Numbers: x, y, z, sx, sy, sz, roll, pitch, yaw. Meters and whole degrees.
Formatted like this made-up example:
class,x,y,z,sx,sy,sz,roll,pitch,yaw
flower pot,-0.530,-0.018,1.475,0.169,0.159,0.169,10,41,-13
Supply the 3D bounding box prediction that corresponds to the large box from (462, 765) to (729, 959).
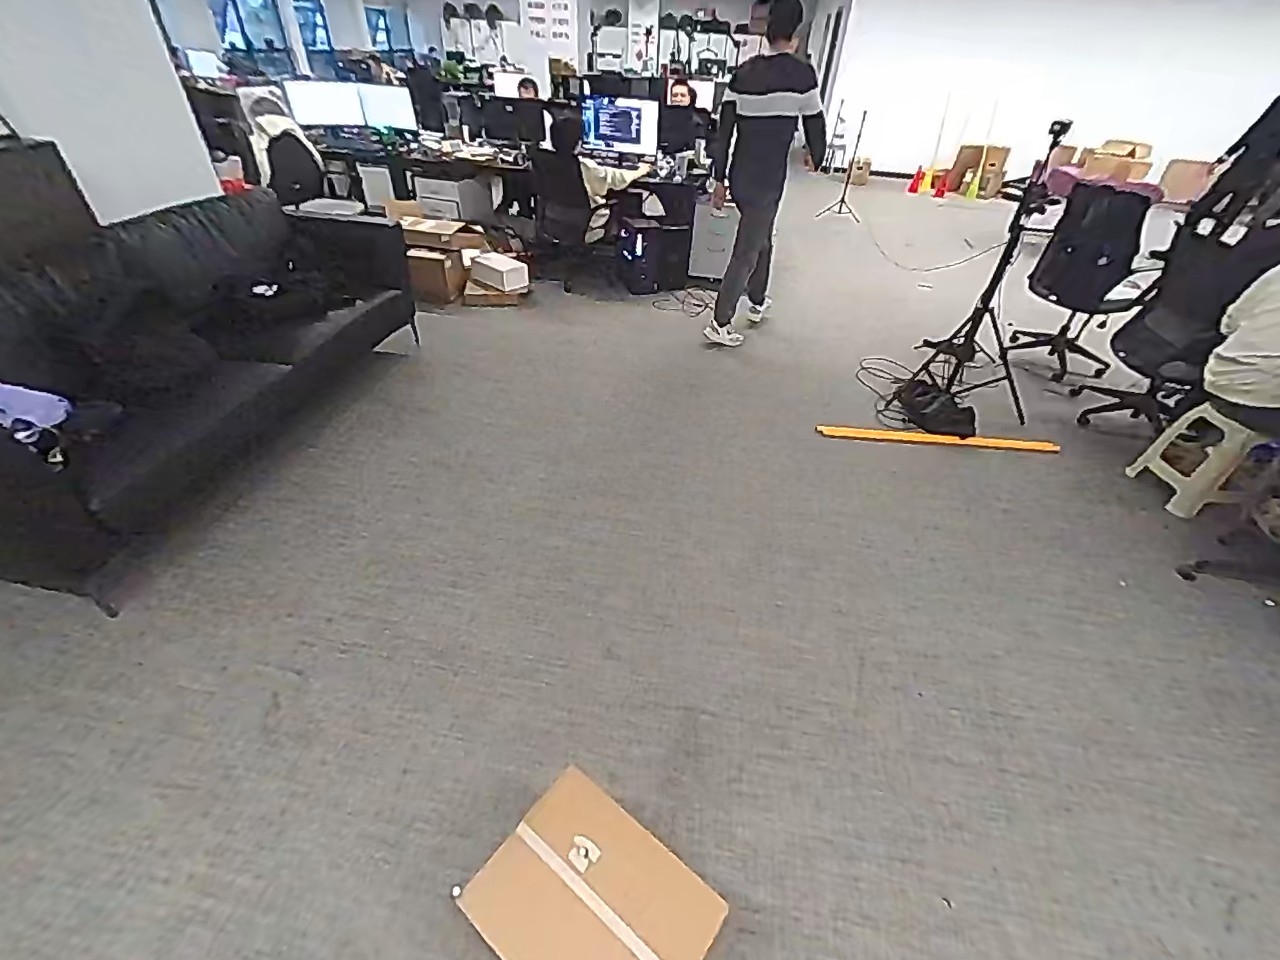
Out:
class,x,y,z,sx,sy,sz,roll,pitch,yaw
large box,-0.082,0.886,1.088,0.408,0.320,0.320,27,45,28
